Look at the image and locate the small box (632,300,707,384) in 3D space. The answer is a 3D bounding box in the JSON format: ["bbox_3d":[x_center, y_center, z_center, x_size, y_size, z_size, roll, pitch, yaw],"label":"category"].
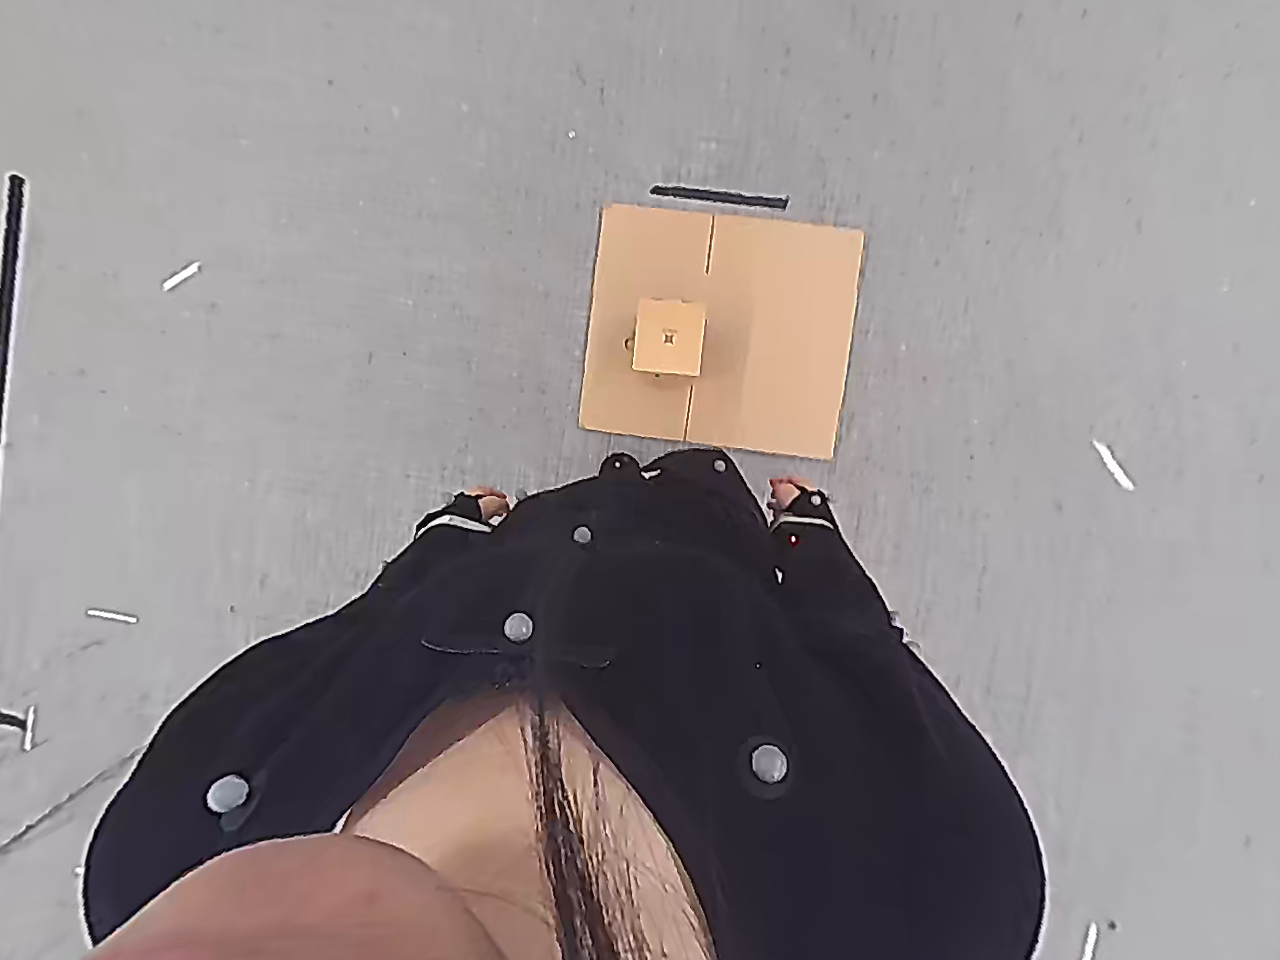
[{"bbox_3d":[0.075,-0.344,1.376,0.168,0.176,0.179,6,94,3],"label":"small box"}]
